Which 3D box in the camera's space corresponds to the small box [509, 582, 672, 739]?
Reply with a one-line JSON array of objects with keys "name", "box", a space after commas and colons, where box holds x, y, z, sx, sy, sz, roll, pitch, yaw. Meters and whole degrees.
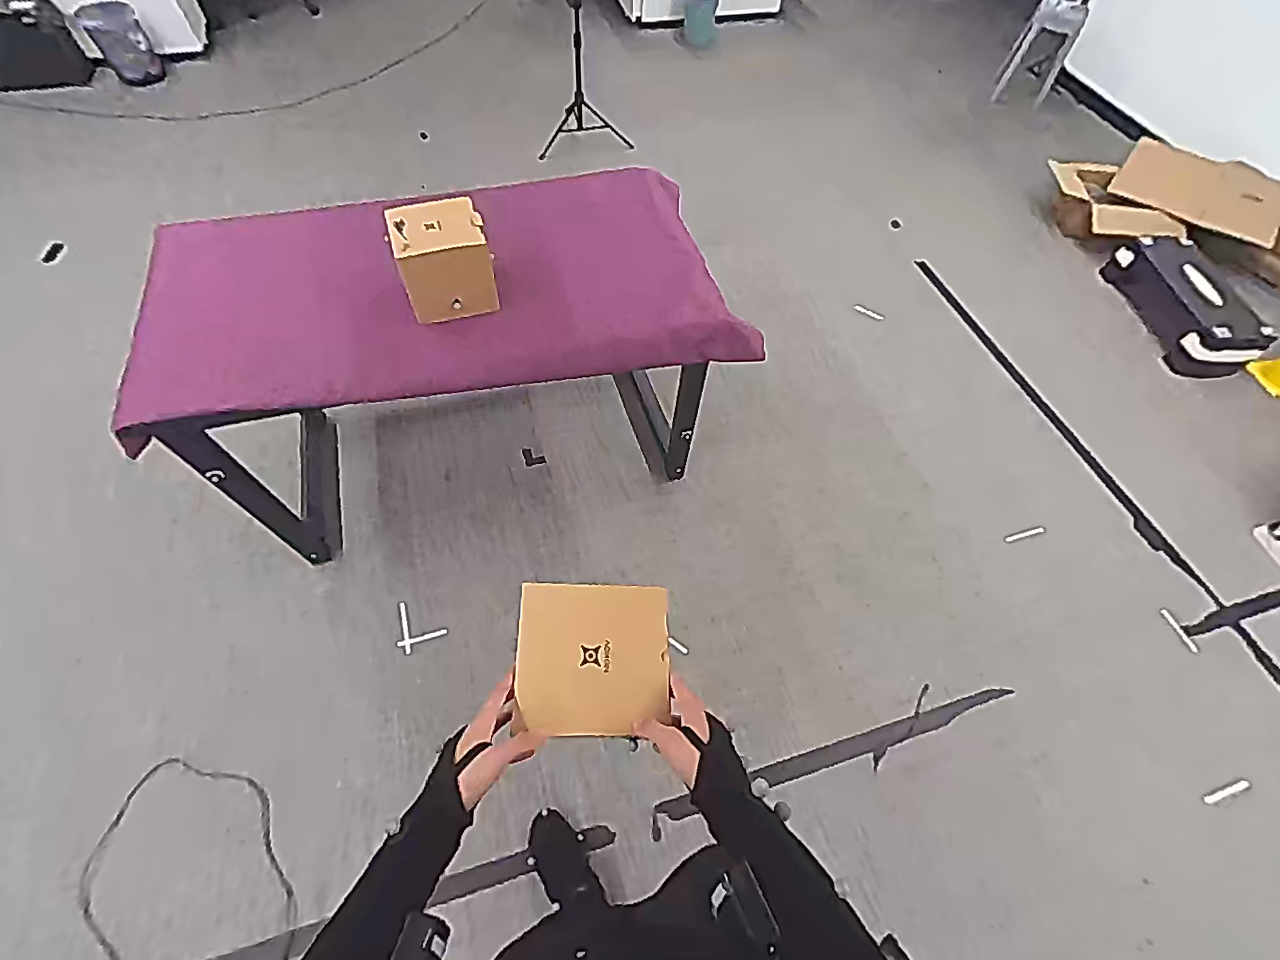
[{"name": "small box", "box": [-0.062, 0.232, 0.678, 0.179, 0.176, 0.168, 4, 64, -8]}]

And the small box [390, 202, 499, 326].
[{"name": "small box", "box": [-0.404, -0.453, 1.141, 0.179, 0.176, 0.168, -15, 60, -13]}]
